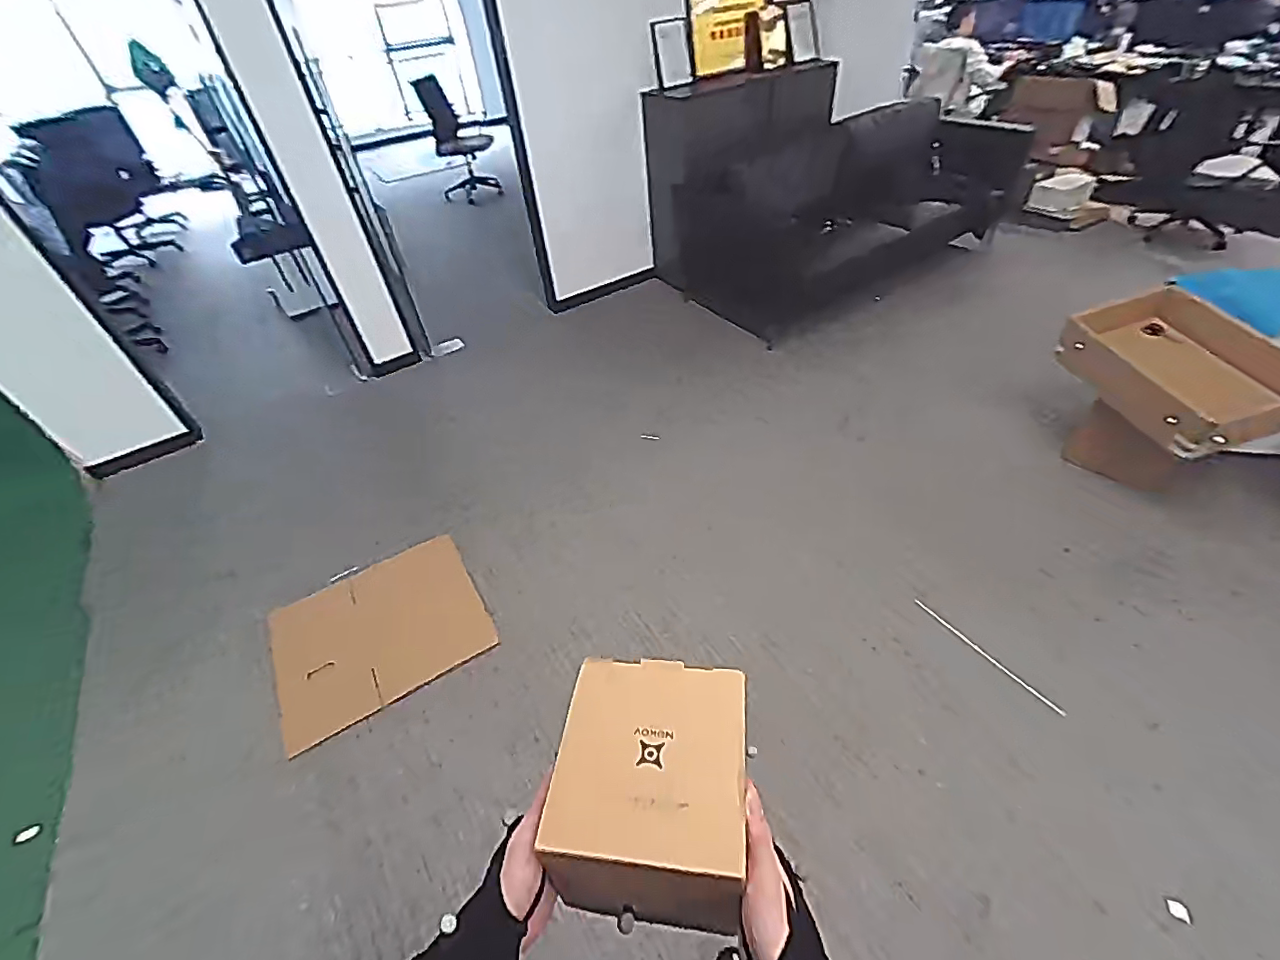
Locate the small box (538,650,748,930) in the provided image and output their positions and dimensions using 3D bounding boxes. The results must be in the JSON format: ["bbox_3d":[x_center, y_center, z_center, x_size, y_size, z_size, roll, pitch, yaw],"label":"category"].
[{"bbox_3d":[0.017,0.294,0.524,0.168,0.176,0.179,1,39,10],"label":"small box"}]
